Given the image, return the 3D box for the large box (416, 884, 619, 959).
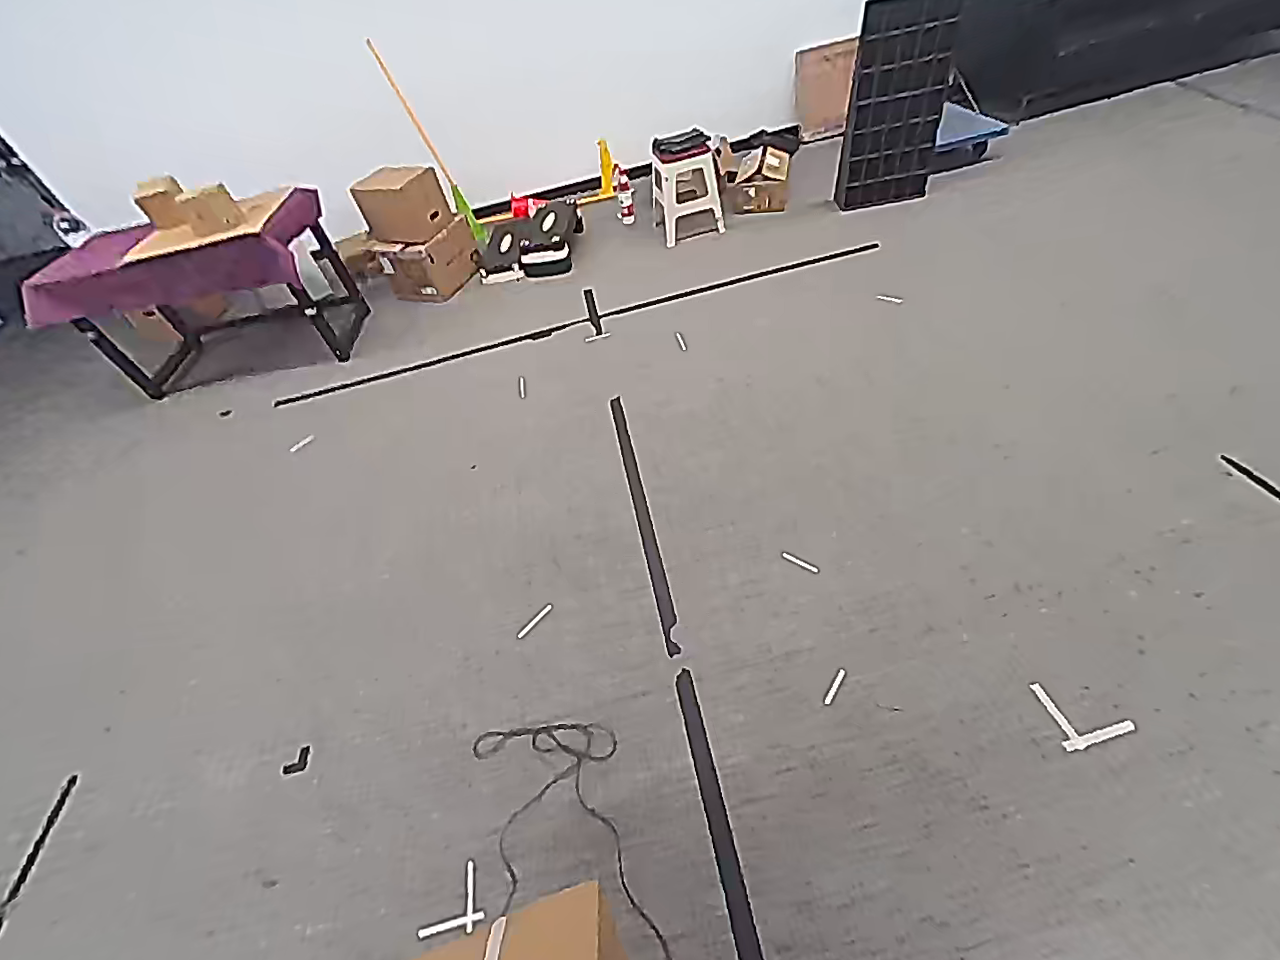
[{"bbox_3d":[-0.145,0.827,0.653,0.320,0.408,0.320,-22,90,-5],"label":"large box"}]
